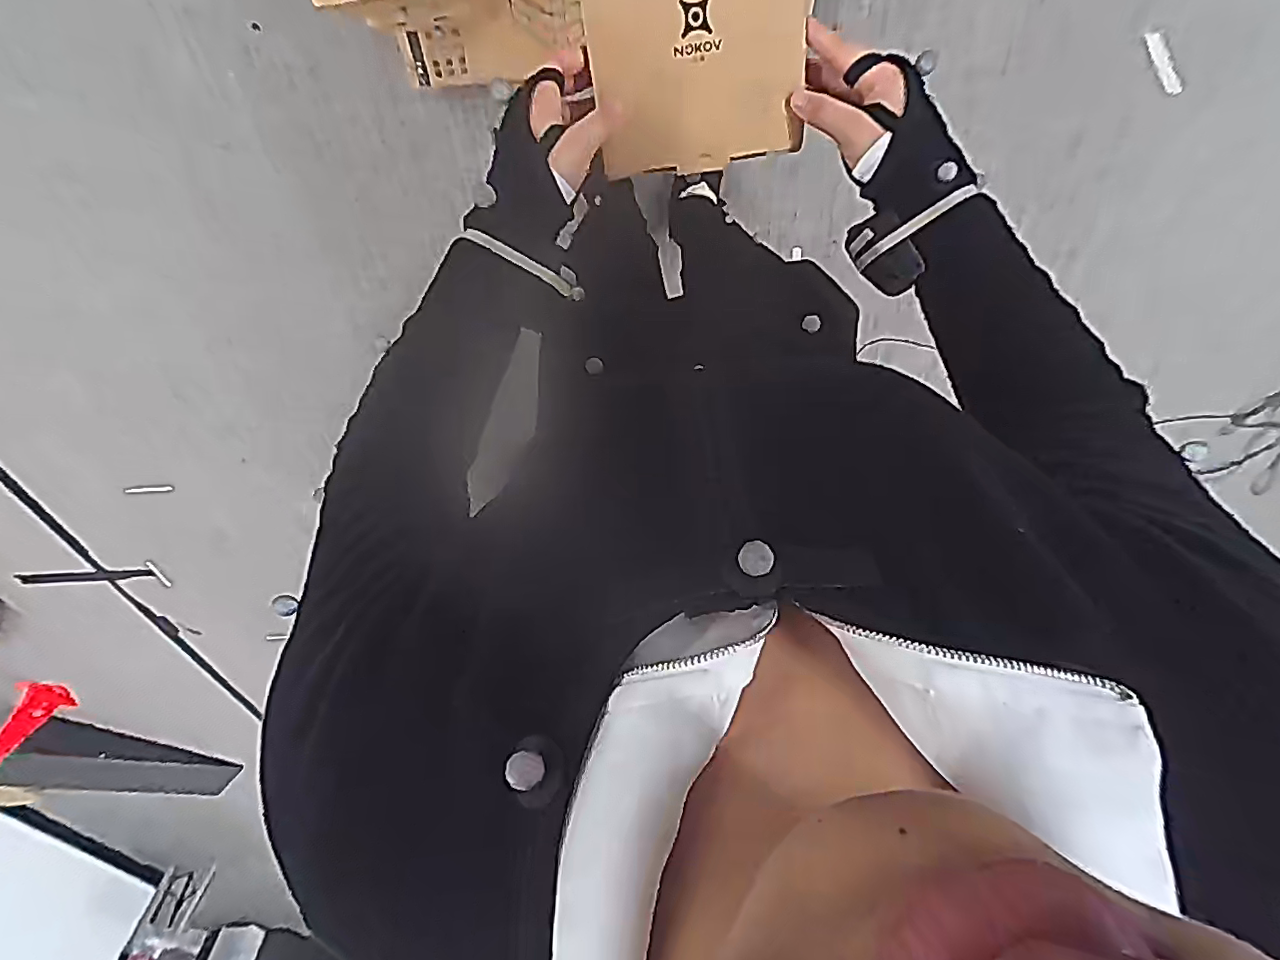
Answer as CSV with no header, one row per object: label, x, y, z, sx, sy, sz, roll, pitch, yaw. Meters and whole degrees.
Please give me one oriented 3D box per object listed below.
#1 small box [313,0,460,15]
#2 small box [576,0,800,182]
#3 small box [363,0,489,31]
small box,-0.346,-0.729,0.697,0.168,0.176,0.179,-6,128,3
small box,0.038,-0.378,0.473,0.168,0.176,0.179,-7,122,4
small box,-0.346,-0.819,0.836,0.168,0.176,0.179,-5,128,2
